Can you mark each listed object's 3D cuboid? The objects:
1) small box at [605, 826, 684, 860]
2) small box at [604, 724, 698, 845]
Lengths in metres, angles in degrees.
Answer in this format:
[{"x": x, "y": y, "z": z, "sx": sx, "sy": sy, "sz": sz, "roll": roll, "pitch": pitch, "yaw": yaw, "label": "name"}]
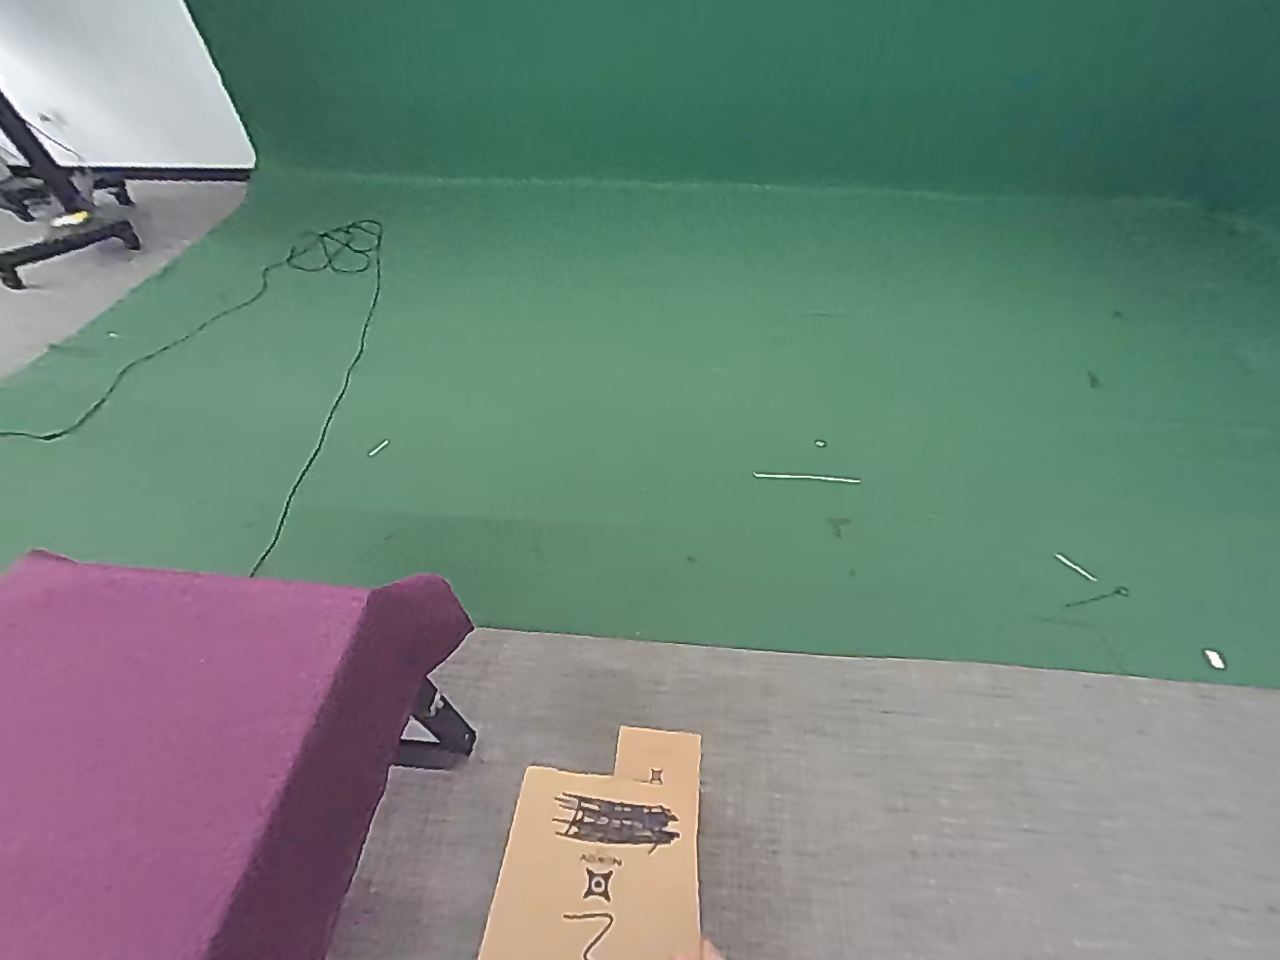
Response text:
[{"x": 0.024, "y": 0.730, "z": 1.211, "sx": 0.168, "sy": 0.176, "sz": 0.179, "roll": 7, "pitch": 49, "yaw": 6, "label": "small box"}, {"x": 0.025, "y": 0.618, "z": 1.092, "sx": 0.168, "sy": 0.176, "sz": 0.179, "roll": 6, "pitch": 49, "yaw": 4, "label": "small box"}]
